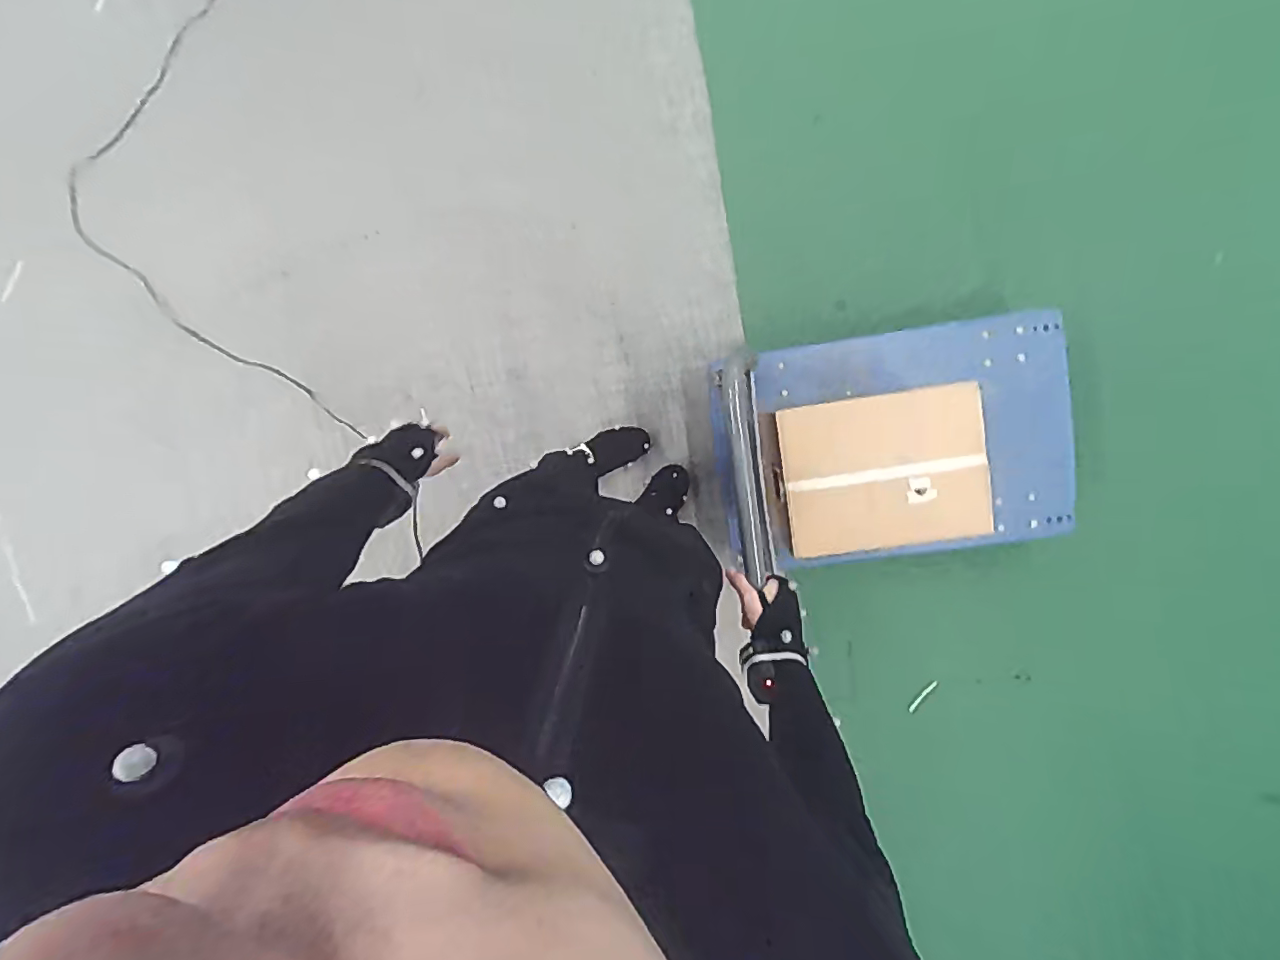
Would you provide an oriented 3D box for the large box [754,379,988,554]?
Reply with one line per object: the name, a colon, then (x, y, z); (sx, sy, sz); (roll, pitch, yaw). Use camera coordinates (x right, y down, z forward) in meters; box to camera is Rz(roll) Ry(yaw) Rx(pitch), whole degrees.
large box: (0.503, -0.037, 1.255); (0.408, 0.320, 0.320); (-8, 96, 4)
